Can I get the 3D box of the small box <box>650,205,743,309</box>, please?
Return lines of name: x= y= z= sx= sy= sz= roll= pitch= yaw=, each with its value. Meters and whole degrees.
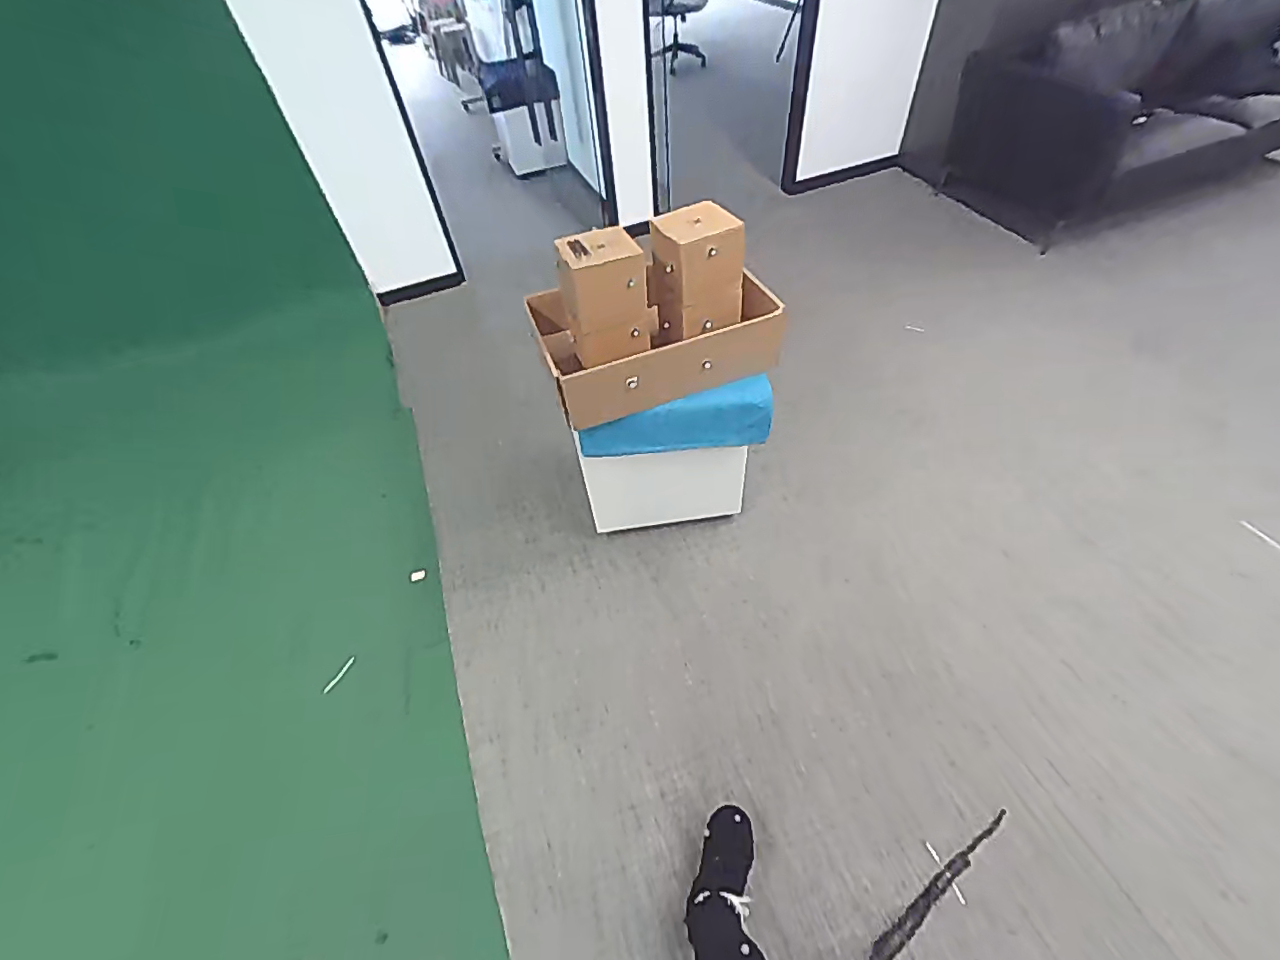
small box: x=0.145 y=-0.558 z=1.360 sx=0.179 sy=0.176 sz=0.168 roll=-23 pitch=50 yaw=-12

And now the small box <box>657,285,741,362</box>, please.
small box: x=0.165 y=-0.450 z=1.482 sx=0.179 sy=0.176 sz=0.168 roll=-23 pitch=50 yaw=-10

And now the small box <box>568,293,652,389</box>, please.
small box: x=-0.077 y=-0.369 z=1.447 sx=0.179 sy=0.176 sz=0.168 roll=-19 pitch=49 yaw=-11
